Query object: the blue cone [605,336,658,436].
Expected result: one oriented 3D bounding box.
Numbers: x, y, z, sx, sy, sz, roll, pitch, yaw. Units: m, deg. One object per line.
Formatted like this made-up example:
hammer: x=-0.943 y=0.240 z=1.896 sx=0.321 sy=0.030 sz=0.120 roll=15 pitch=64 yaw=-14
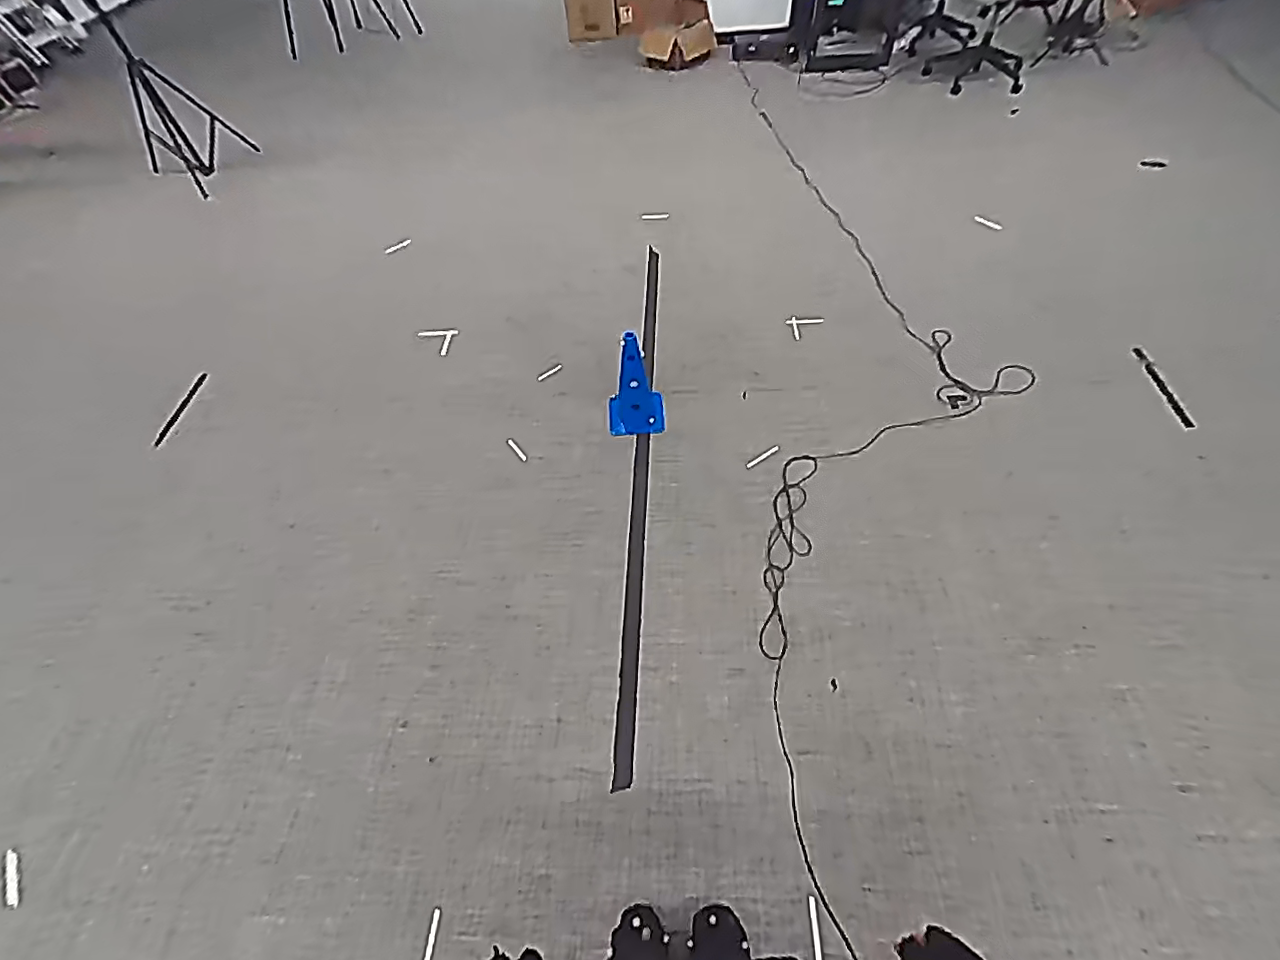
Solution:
blue cone: x=-0.043 y=-0.336 z=1.860 sx=0.192 sy=0.380 sz=0.193 roll=-3 pitch=53 yaw=2
